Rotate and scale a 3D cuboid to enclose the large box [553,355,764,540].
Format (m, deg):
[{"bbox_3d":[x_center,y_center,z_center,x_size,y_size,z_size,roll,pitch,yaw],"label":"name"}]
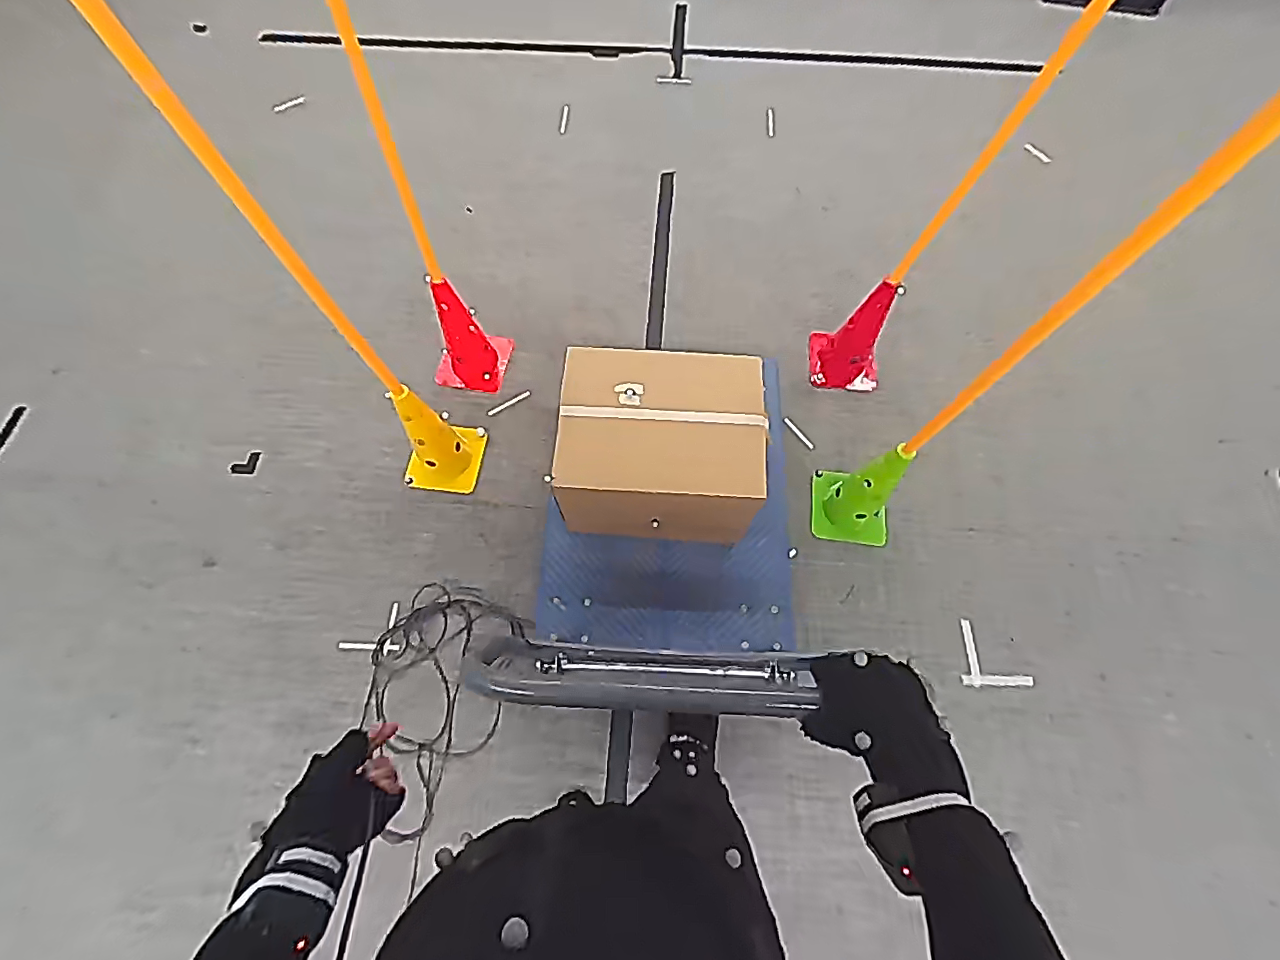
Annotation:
[{"bbox_3d":[0.043,-0.057,1.203,0.408,0.320,0.320,3,68,2],"label":"large box"}]

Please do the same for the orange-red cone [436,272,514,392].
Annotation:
[{"bbox_3d":[-0.499,-0.438,1.511,0.198,0.360,0.199,11,66,3],"label":"orange-red cone"}]

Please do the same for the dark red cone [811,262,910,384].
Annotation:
[{"bbox_3d":[0.635,-0.445,1.506,0.201,0.394,0.202,5,68,-1],"label":"dark red cone"}]

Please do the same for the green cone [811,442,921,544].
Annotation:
[{"bbox_3d":[0.580,0.007,1.338,0.202,0.368,0.200,8,68,1],"label":"green cone"}]
